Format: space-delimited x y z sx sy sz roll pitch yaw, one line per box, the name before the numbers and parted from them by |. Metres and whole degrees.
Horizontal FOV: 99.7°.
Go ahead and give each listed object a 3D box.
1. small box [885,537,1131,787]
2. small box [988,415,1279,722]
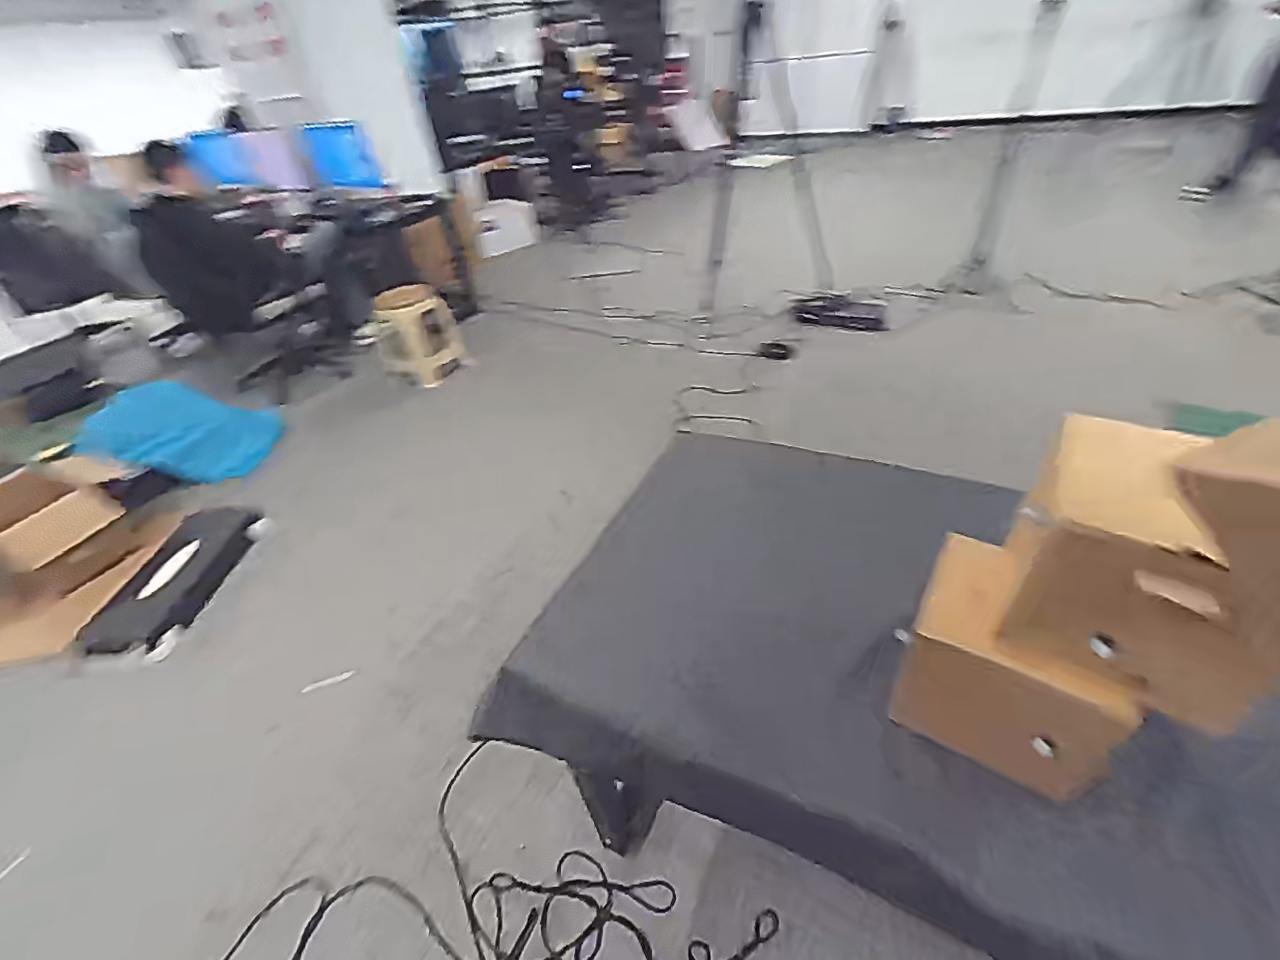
small box | 0.391 0.197 0.591 0.179 0.176 0.168 18 44 30
small box | 0.436 0.070 0.482 0.168 0.176 0.179 19 45 28
